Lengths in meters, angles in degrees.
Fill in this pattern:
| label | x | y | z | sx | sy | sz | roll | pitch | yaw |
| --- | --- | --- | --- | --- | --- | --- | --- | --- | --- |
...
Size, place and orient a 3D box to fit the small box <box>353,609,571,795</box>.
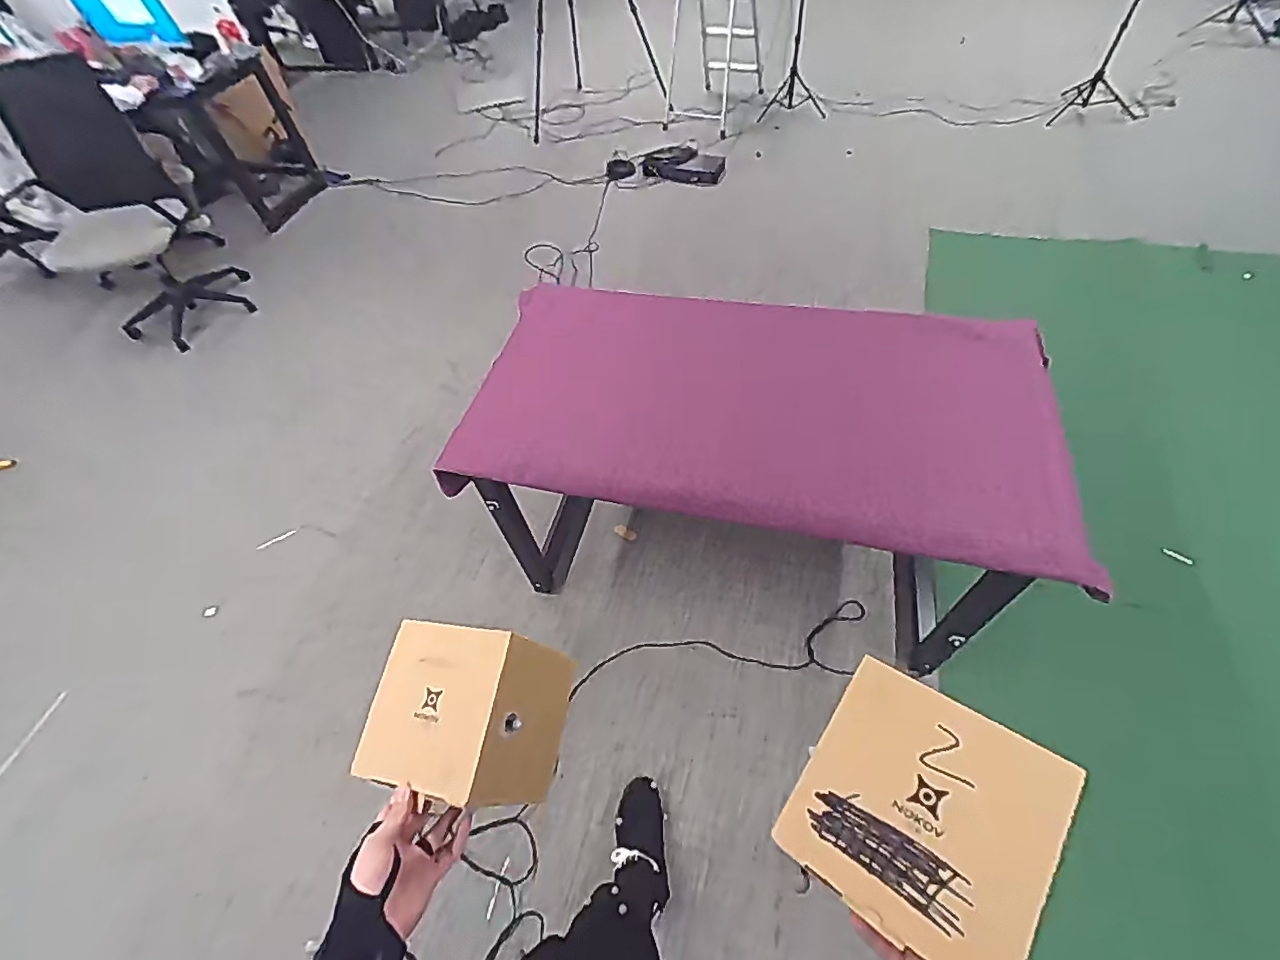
| label | x | y | z | sx | sy | sz | roll | pitch | yaw |
| --- | --- | --- | --- | --- | --- | --- | --- | --- | --- |
| small box | -0.204 | 0.273 | 0.671 | 0.168 | 0.176 | 0.179 | 0 | 63 | 23 |
